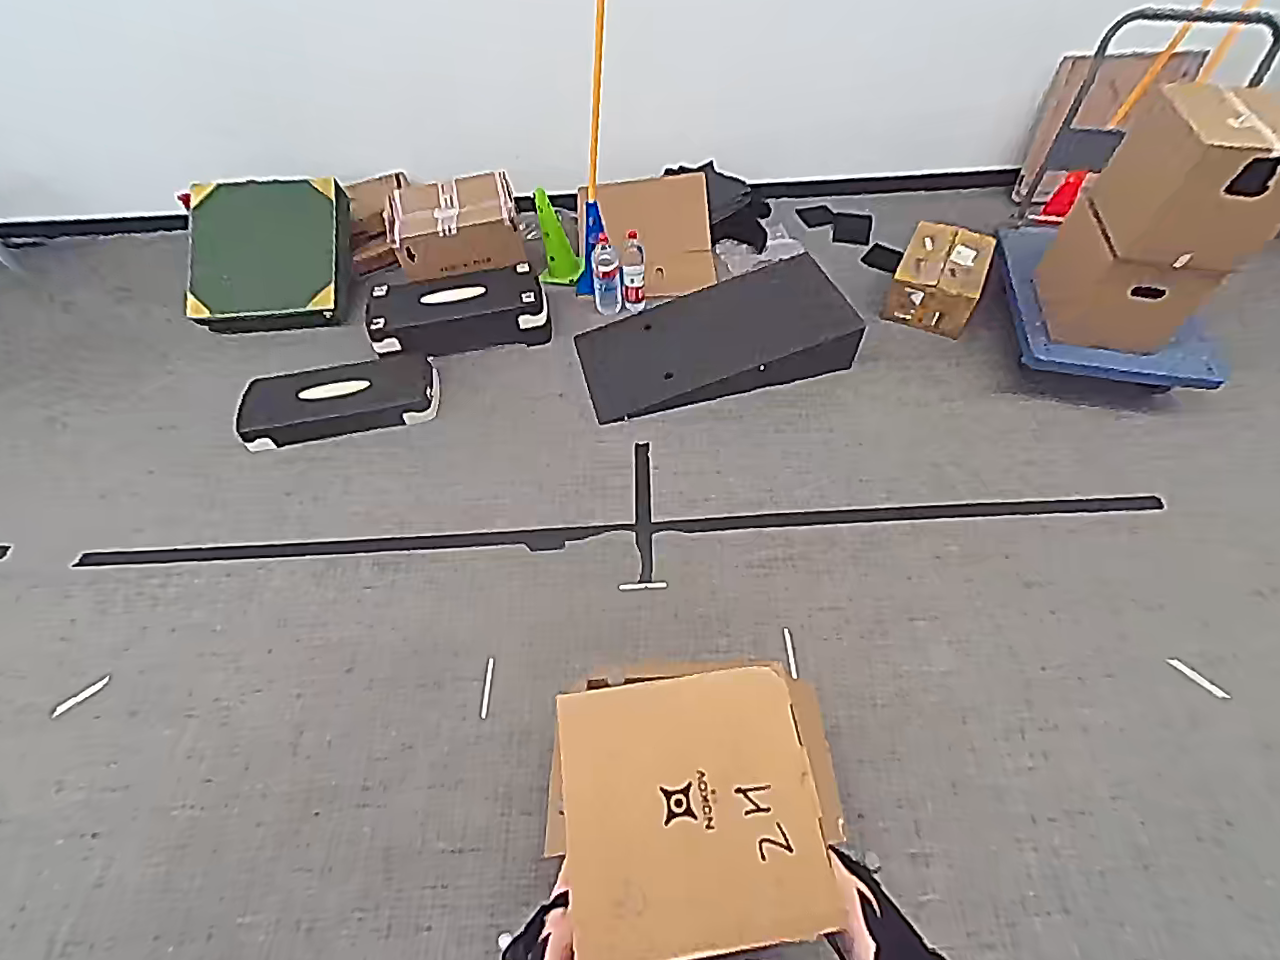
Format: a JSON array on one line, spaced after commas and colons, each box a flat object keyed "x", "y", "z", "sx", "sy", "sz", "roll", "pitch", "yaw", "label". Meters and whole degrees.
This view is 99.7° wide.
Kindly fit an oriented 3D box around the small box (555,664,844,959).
[{"x": 0.033, "y": 0.257, "z": 0.440, "sx": 0.179, "sy": 0.176, "sz": 0.168, "roll": -7, "pitch": 64, "yaw": -4, "label": "small box"}]
